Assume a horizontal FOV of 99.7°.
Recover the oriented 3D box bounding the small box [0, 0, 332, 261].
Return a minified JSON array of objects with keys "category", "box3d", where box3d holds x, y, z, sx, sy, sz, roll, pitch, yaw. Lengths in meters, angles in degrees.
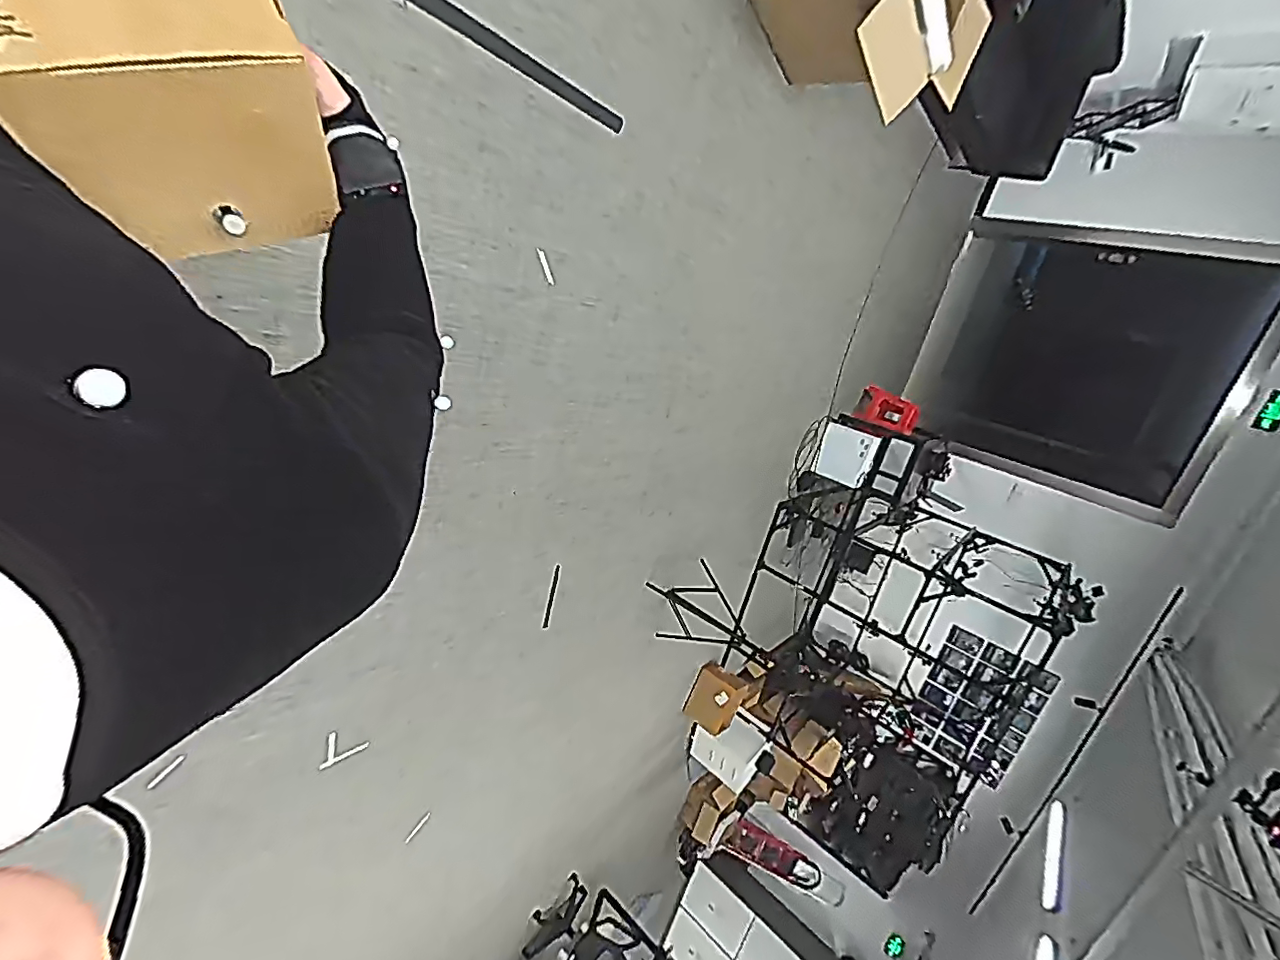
[{"category":"small box","box3d":[-0.368,-0.306,0.428,0.179,0.168,0.176,-25,173,-25]}]
